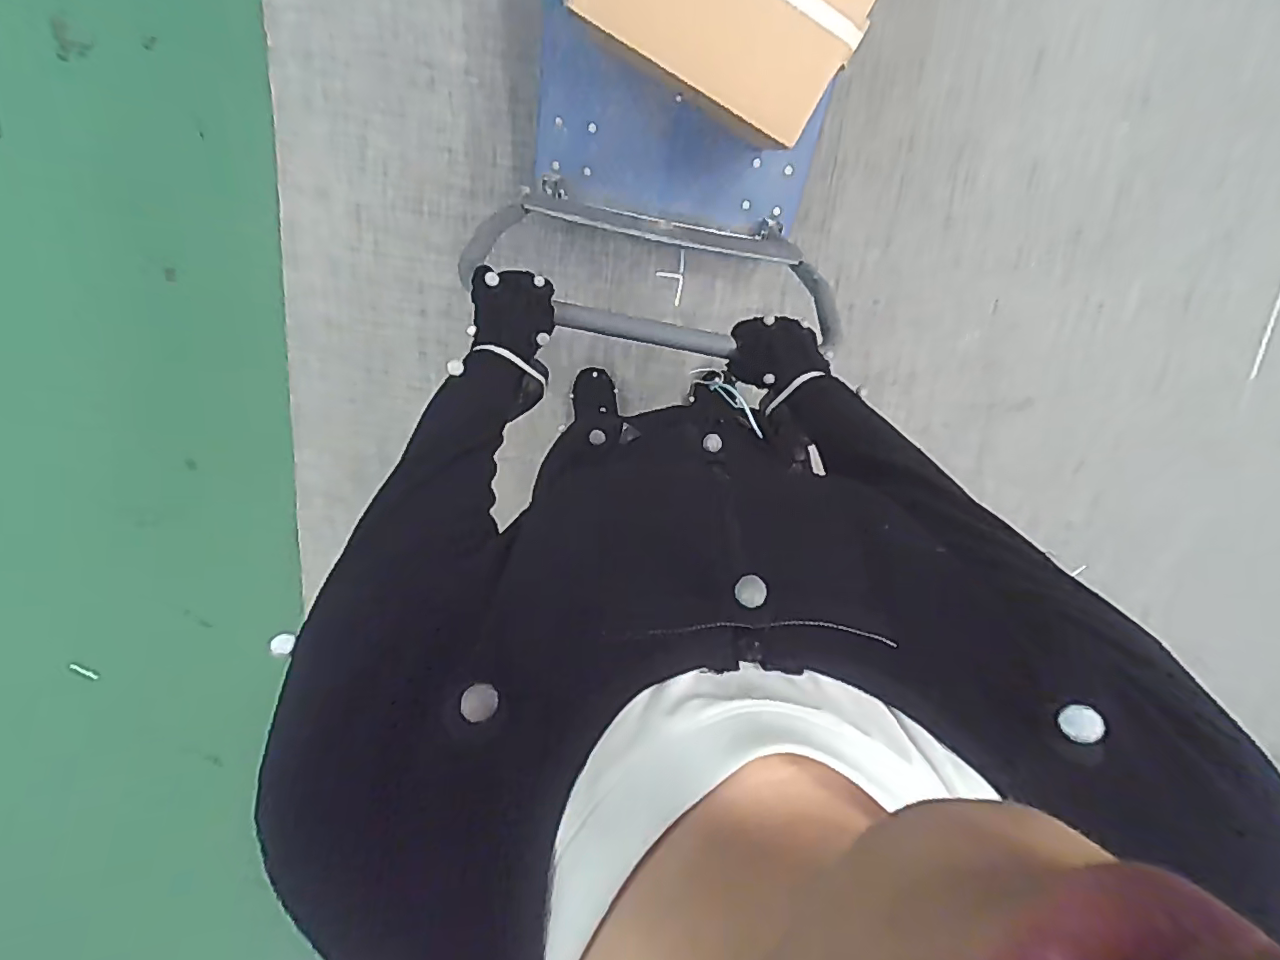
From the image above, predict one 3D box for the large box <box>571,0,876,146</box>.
[{"bbox_3d":[0.152,-0.806,0.886,0.408,0.320,0.320,25,120,-10],"label":"large box"}]
